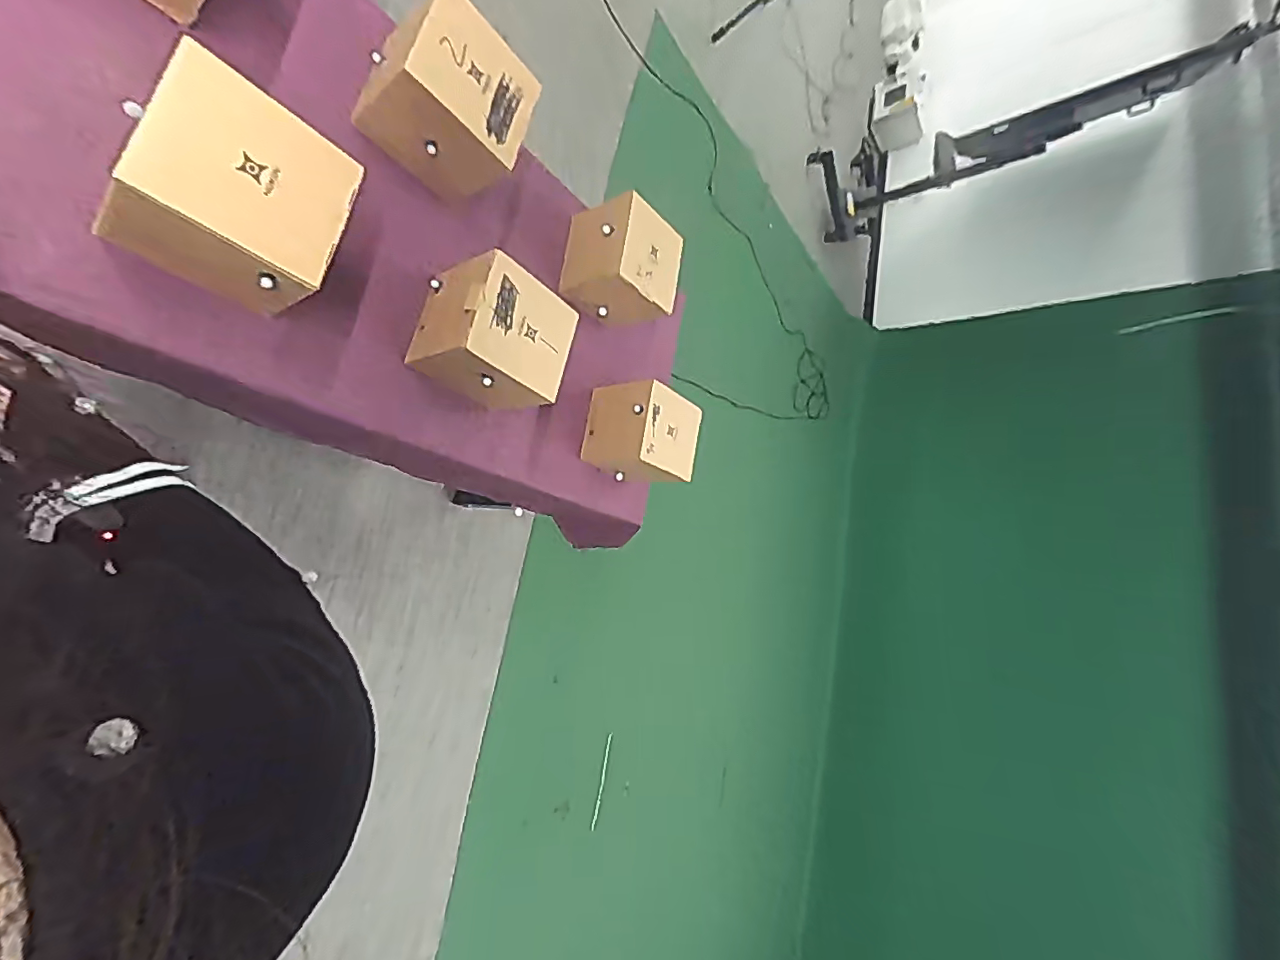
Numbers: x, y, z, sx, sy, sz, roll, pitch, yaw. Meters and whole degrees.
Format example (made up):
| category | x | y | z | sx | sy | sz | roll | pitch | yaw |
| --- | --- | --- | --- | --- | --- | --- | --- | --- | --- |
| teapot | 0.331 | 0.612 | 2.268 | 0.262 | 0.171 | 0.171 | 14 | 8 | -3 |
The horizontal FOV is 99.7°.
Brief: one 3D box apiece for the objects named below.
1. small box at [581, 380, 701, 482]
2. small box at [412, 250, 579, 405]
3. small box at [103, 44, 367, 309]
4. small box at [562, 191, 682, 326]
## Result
| category | x | y | z | sx | sy | sz | roll | pitch | yaw |
| --- | --- | --- | --- | --- | --- | --- | --- | --- | --- |
| small box | 0.003 | -0.099 | 1.153 | 0.179 | 0.176 | 0.168 | 23 | 72 | -48 |
| small box | -0.233 | -0.229 | 0.870 | 0.179 | 0.176 | 0.168 | 29 | 68 | -47 |
| small box | -0.453 | -0.315 | 0.608 | 0.179 | 0.176 | 0.168 | 27 | 70 | -48 |
| small box | -0.038 | -0.437 | 1.099 | 0.168 | 0.176 | 0.179 | 21 | 75 | -48 |
